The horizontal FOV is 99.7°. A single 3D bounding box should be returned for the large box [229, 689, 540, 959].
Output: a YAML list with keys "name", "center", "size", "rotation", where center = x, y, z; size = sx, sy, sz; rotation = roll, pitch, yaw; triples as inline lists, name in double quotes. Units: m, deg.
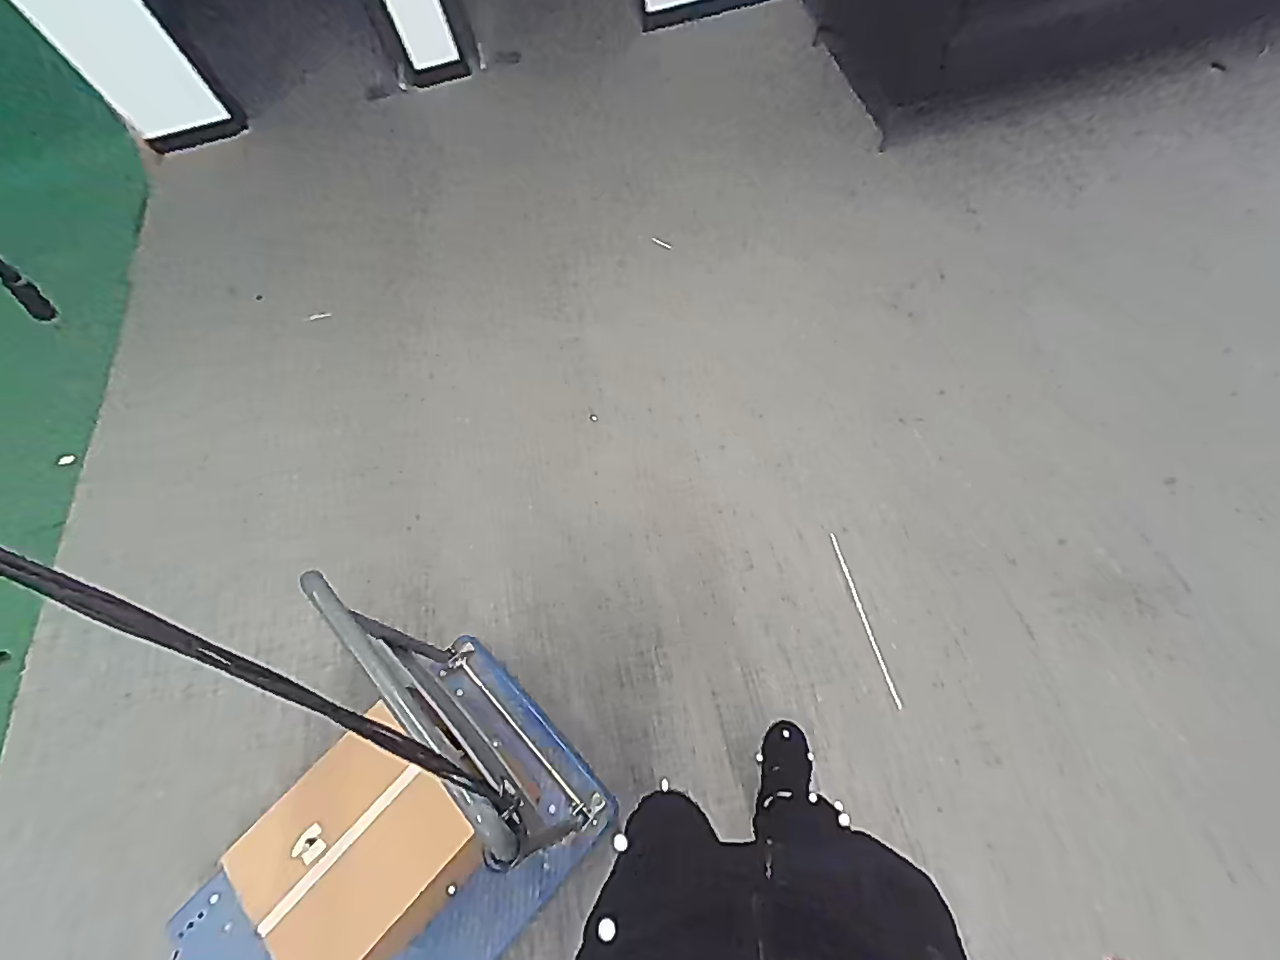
- name: "large box"
  center: [-0.479, 0.692, 1.094]
  size: [0.320, 0.320, 0.408]
  rotation: [39, 76, 22]
